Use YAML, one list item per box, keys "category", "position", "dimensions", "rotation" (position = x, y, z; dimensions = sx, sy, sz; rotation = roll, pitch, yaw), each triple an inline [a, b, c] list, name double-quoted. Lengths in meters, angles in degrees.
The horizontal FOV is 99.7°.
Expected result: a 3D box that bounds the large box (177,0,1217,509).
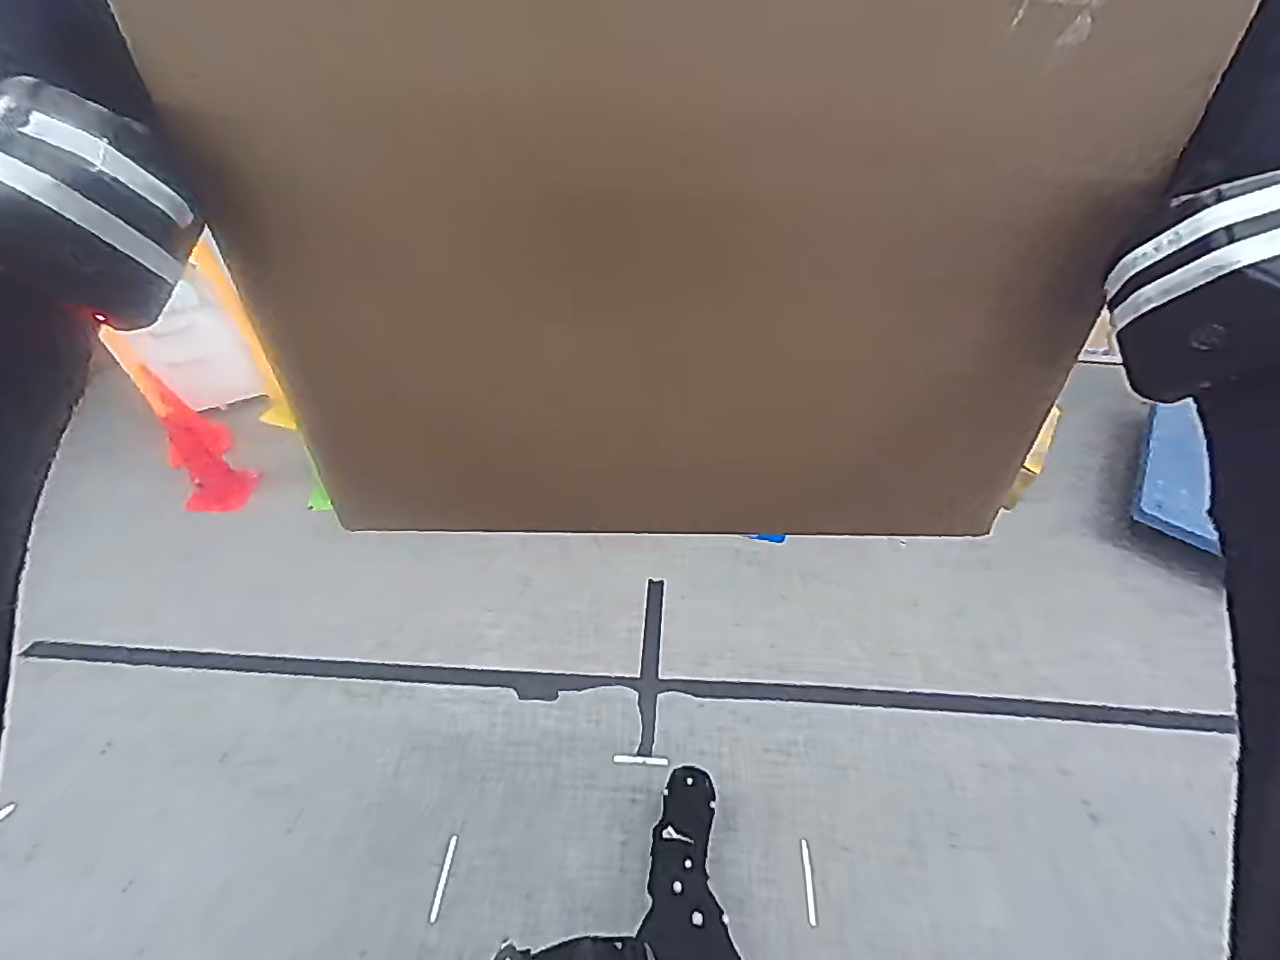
- category: "large box"
  position: [0.019, -0.189, 0.377]
  dimensions: [0.408, 0.320, 0.320]
  rotation: [1, 37, 0]
